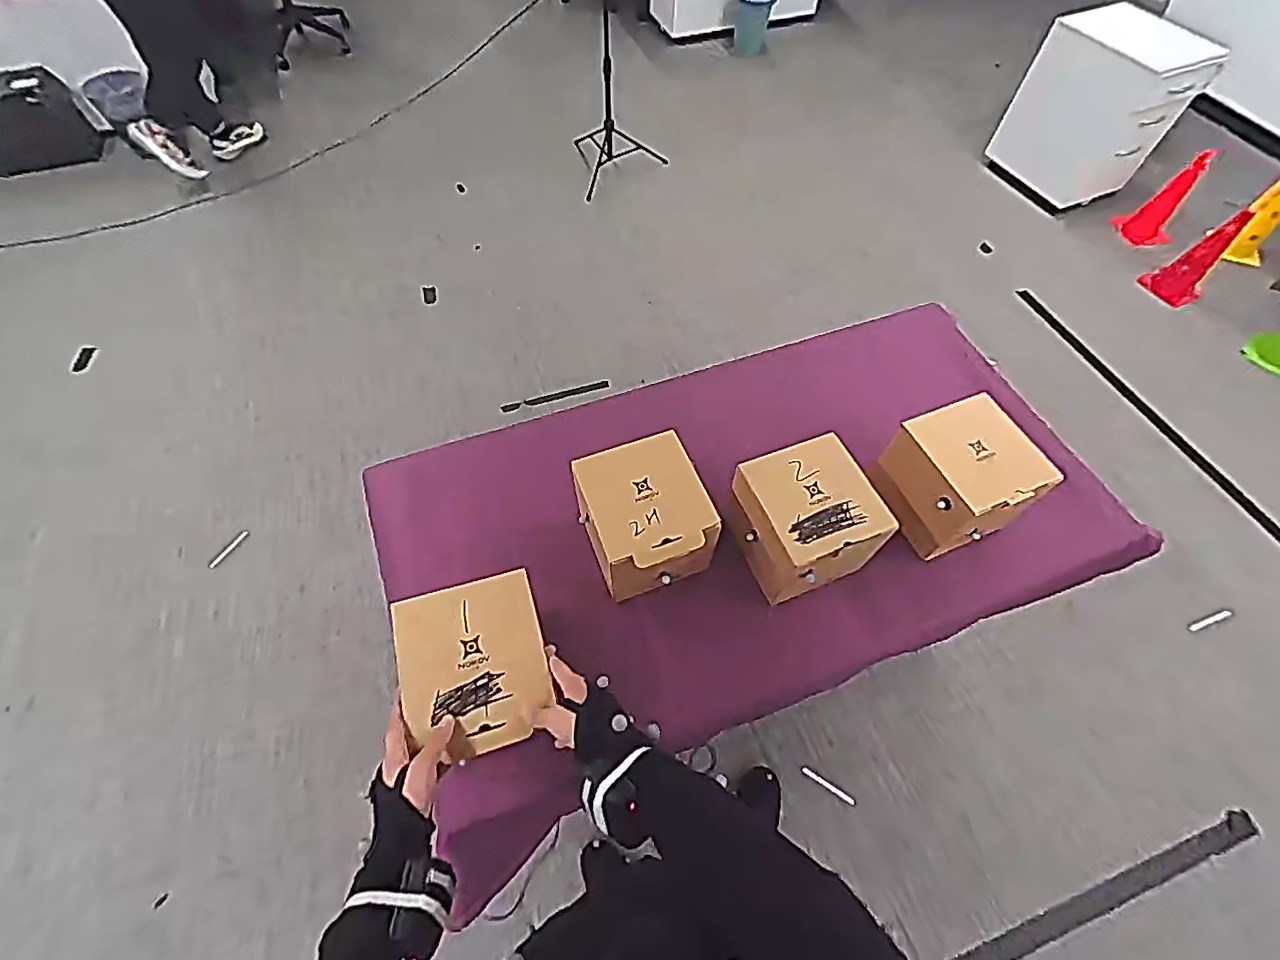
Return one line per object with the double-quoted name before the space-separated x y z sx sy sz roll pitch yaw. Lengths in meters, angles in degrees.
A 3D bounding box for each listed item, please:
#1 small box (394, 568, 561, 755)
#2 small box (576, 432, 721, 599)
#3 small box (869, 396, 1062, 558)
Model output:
"small box" -0.201 0.240 0.699 0.168 0.176 0.179 -13 62 -14
"small box" 0.007 0.059 0.839 0.168 0.176 0.179 -18 62 -10
"small box" 0.510 -0.001 0.882 0.168 0.176 0.179 -19 62 -11
